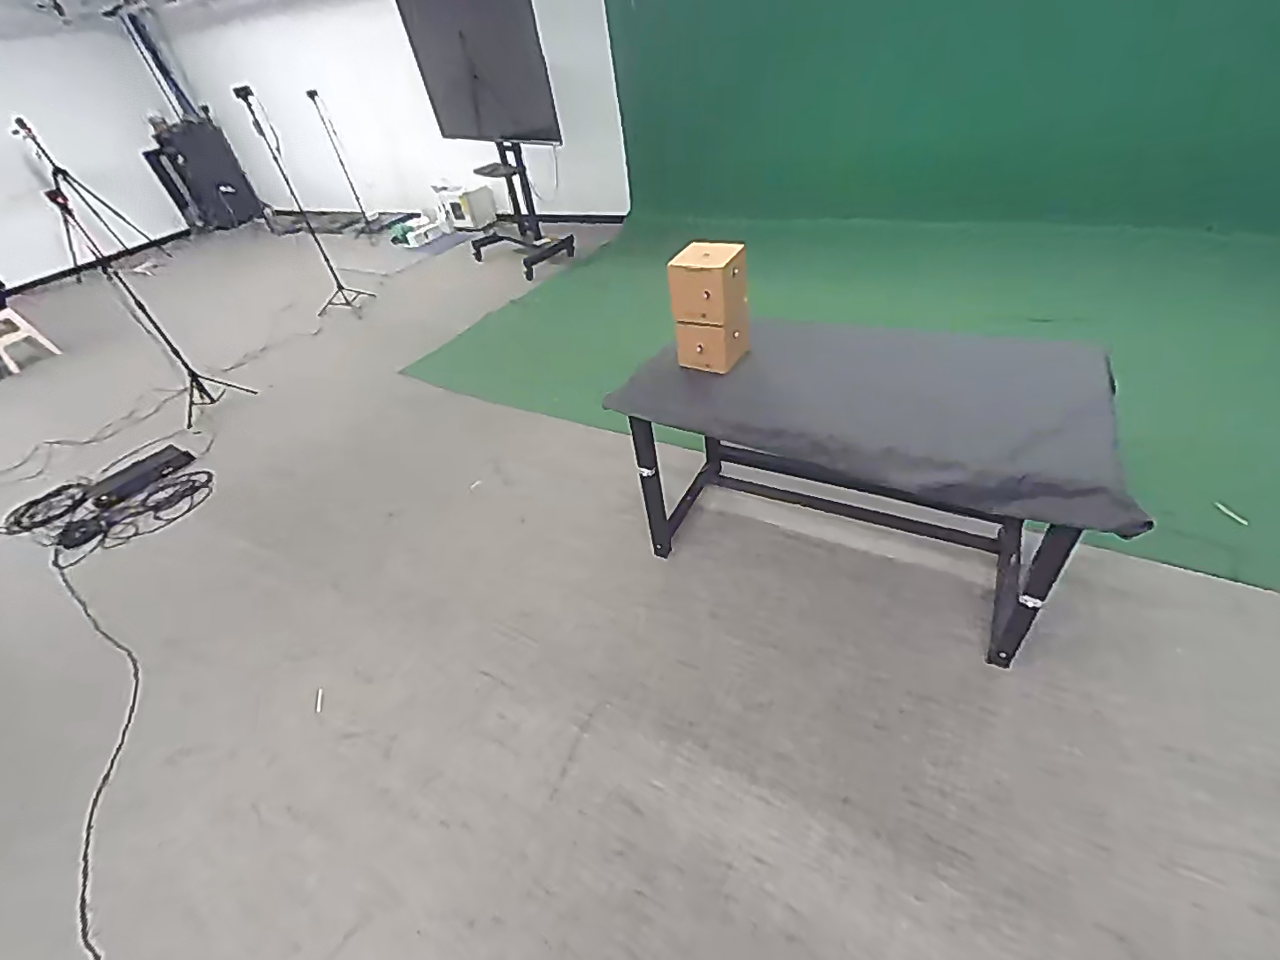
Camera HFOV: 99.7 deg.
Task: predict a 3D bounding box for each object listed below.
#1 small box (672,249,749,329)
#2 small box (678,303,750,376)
[{"bbox_3d":[0.211,-0.558,1.576,0.168,0.176,0.179,16,46,26],"label":"small box"},{"bbox_3d":[0.239,-0.444,1.690,0.168,0.176,0.179,17,48,28],"label":"small box"}]
